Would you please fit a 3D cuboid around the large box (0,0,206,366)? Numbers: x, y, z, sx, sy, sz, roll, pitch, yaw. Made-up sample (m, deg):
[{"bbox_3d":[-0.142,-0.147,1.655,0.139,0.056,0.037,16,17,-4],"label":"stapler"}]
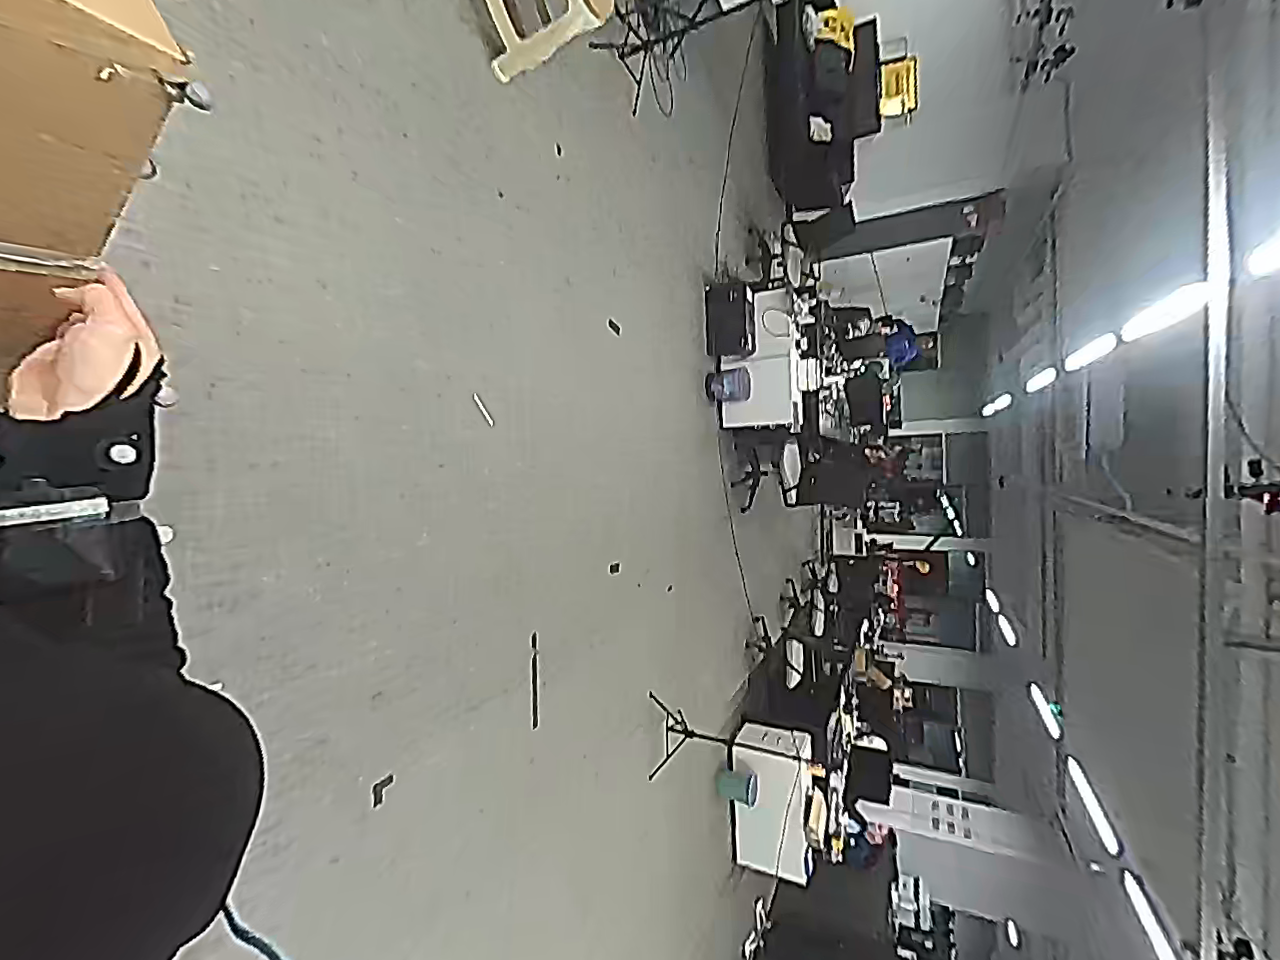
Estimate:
[{"bbox_3d":[-0.493,-0.260,0.178,0.320,0.320,0.408,59,25,6],"label":"large box"}]
